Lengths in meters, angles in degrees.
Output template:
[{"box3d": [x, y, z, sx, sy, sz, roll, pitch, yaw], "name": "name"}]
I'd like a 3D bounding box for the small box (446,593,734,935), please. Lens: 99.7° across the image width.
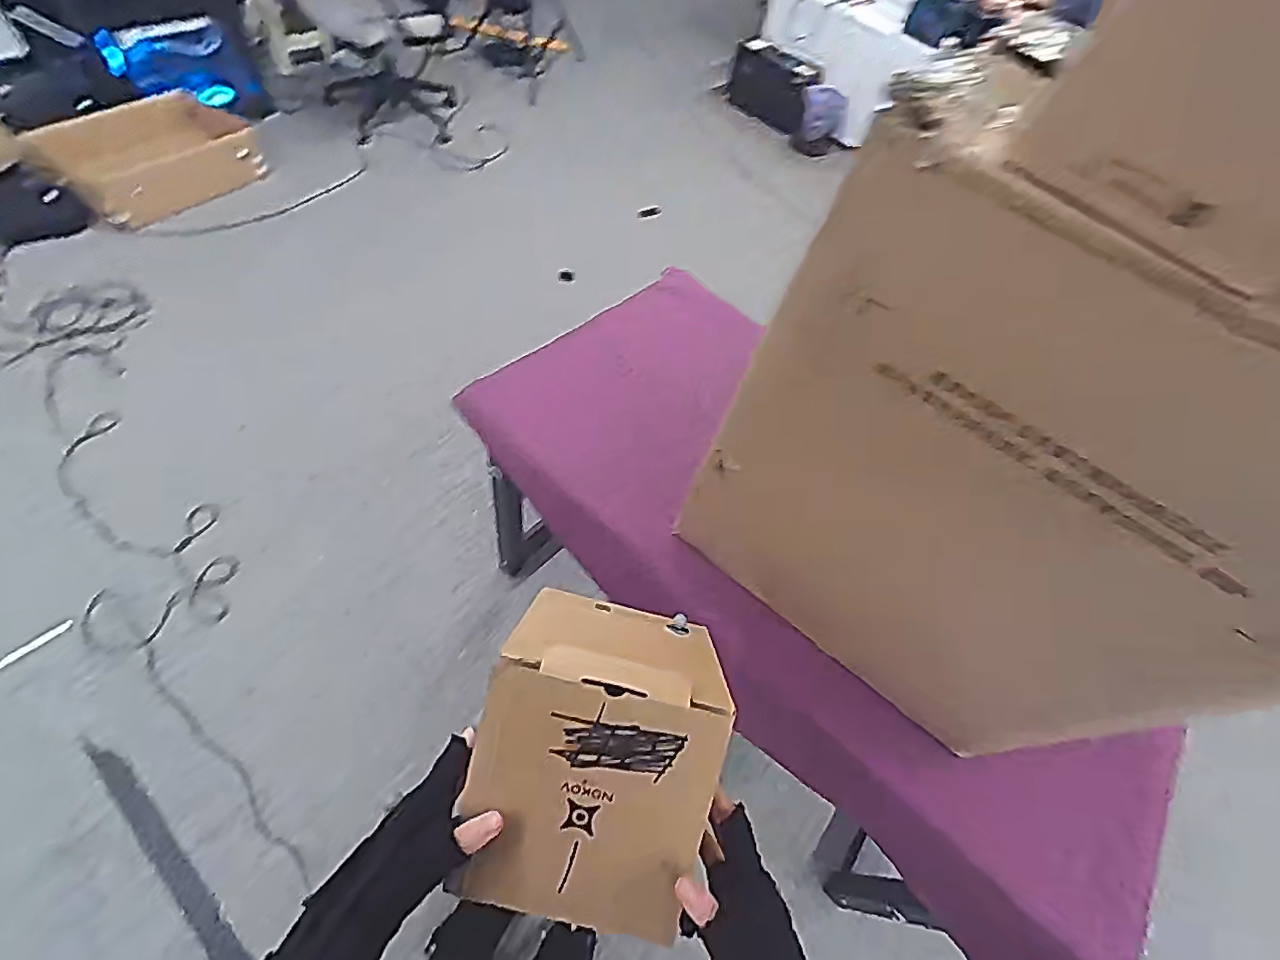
[{"box3d": [-0.036, 0.206, 0.444, 0.168, 0.176, 0.179, 13, 92, -1], "name": "small box"}]
